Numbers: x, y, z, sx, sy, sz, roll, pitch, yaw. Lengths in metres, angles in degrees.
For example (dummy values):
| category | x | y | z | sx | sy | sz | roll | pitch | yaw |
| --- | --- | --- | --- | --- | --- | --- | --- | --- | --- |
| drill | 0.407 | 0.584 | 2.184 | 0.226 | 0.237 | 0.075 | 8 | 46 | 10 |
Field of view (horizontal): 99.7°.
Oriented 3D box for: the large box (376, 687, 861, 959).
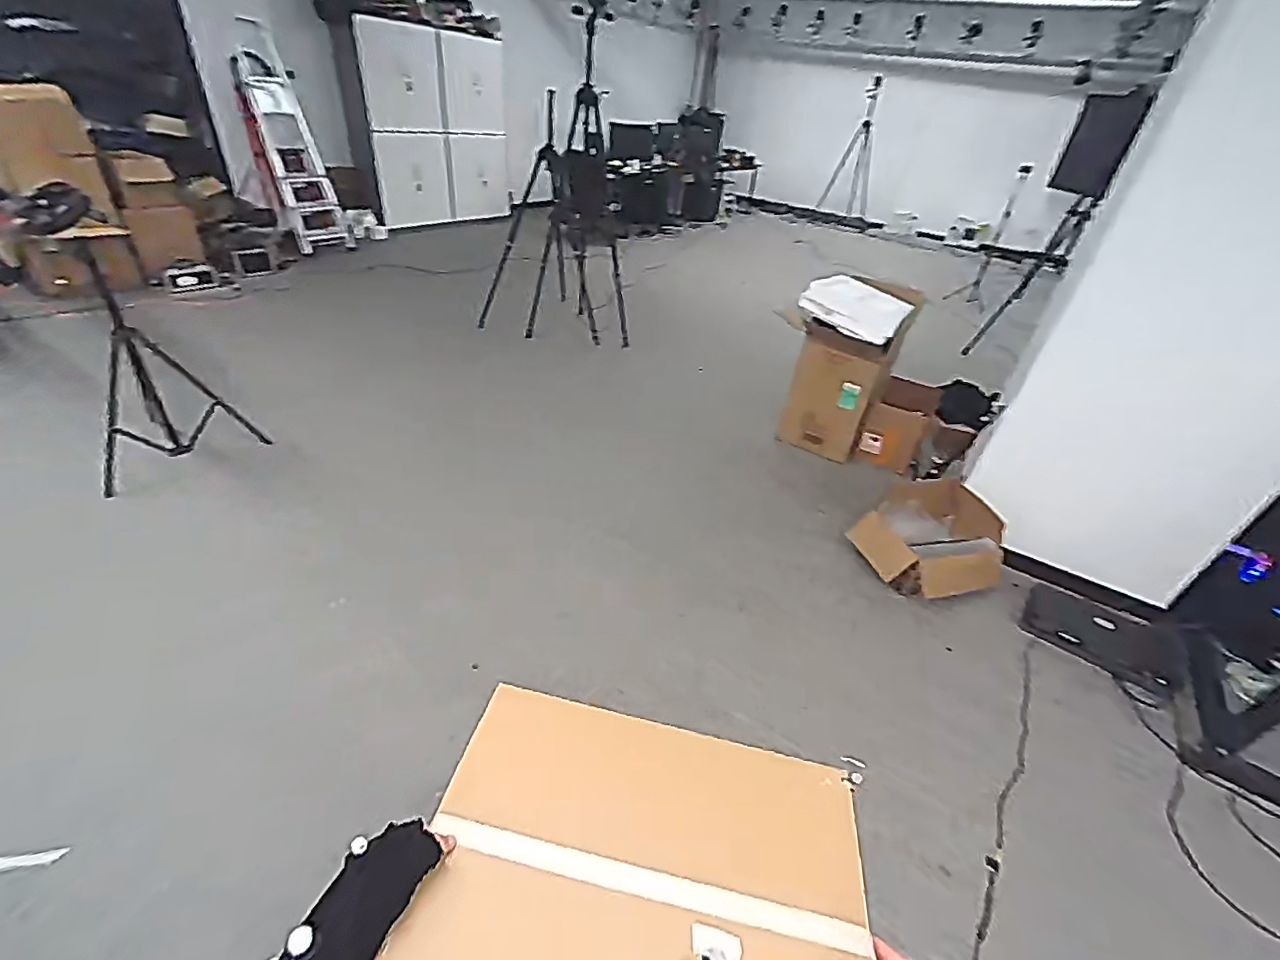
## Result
| category | x | y | z | sx | sy | sz | roll | pitch | yaw |
| --- | --- | --- | --- | --- | --- | --- | --- | --- | --- |
| large box | -0.019 | 0.485 | 0.581 | 0.408 | 0.320 | 0.320 | 12 | 34 | 4 |
